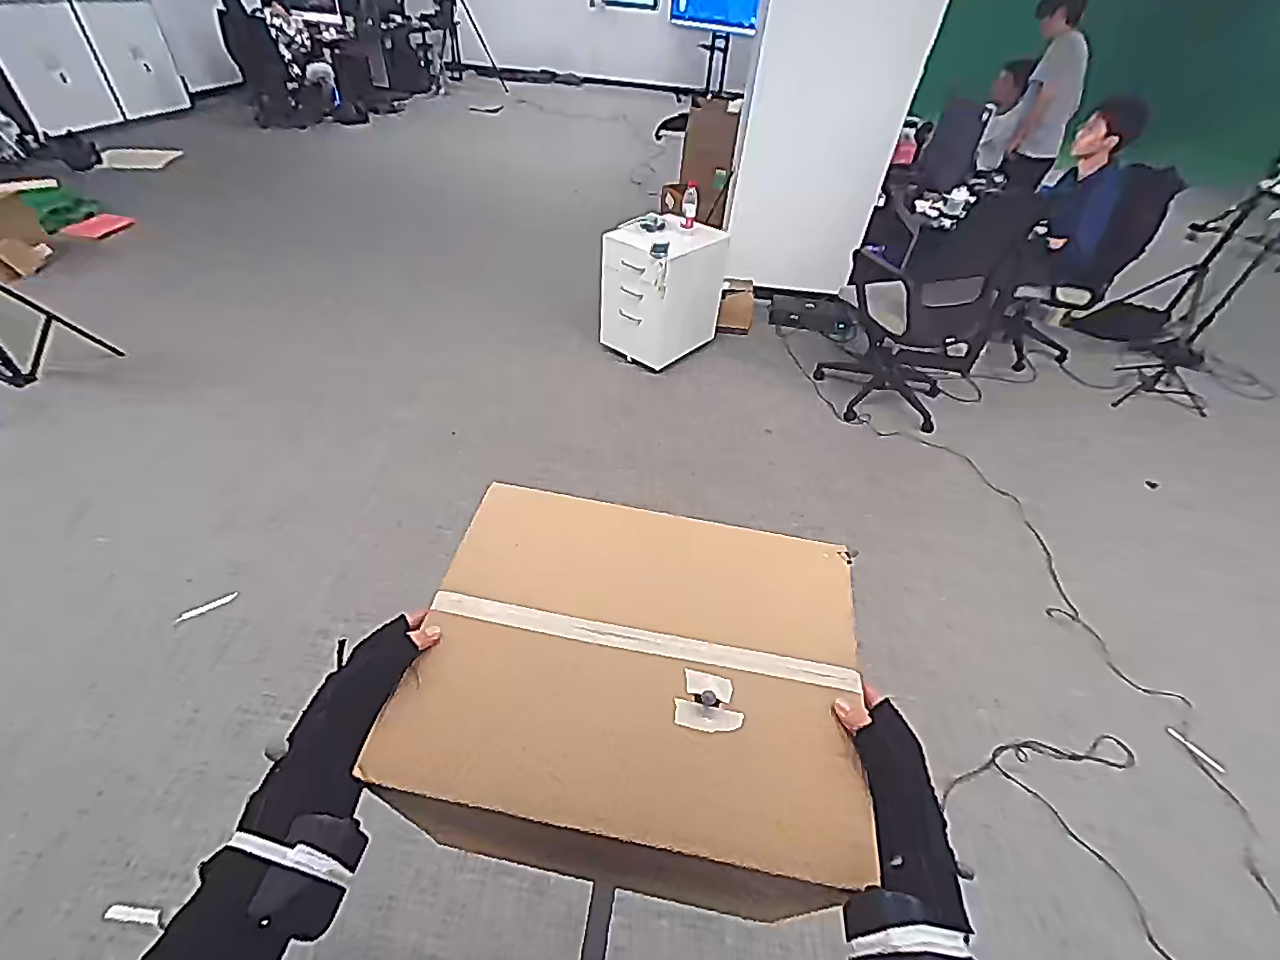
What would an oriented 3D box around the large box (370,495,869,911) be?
[{"bbox_3d":[-0.010,0.258,0.625,0.408,0.320,0.320,10,49,3],"label":"large box"}]
